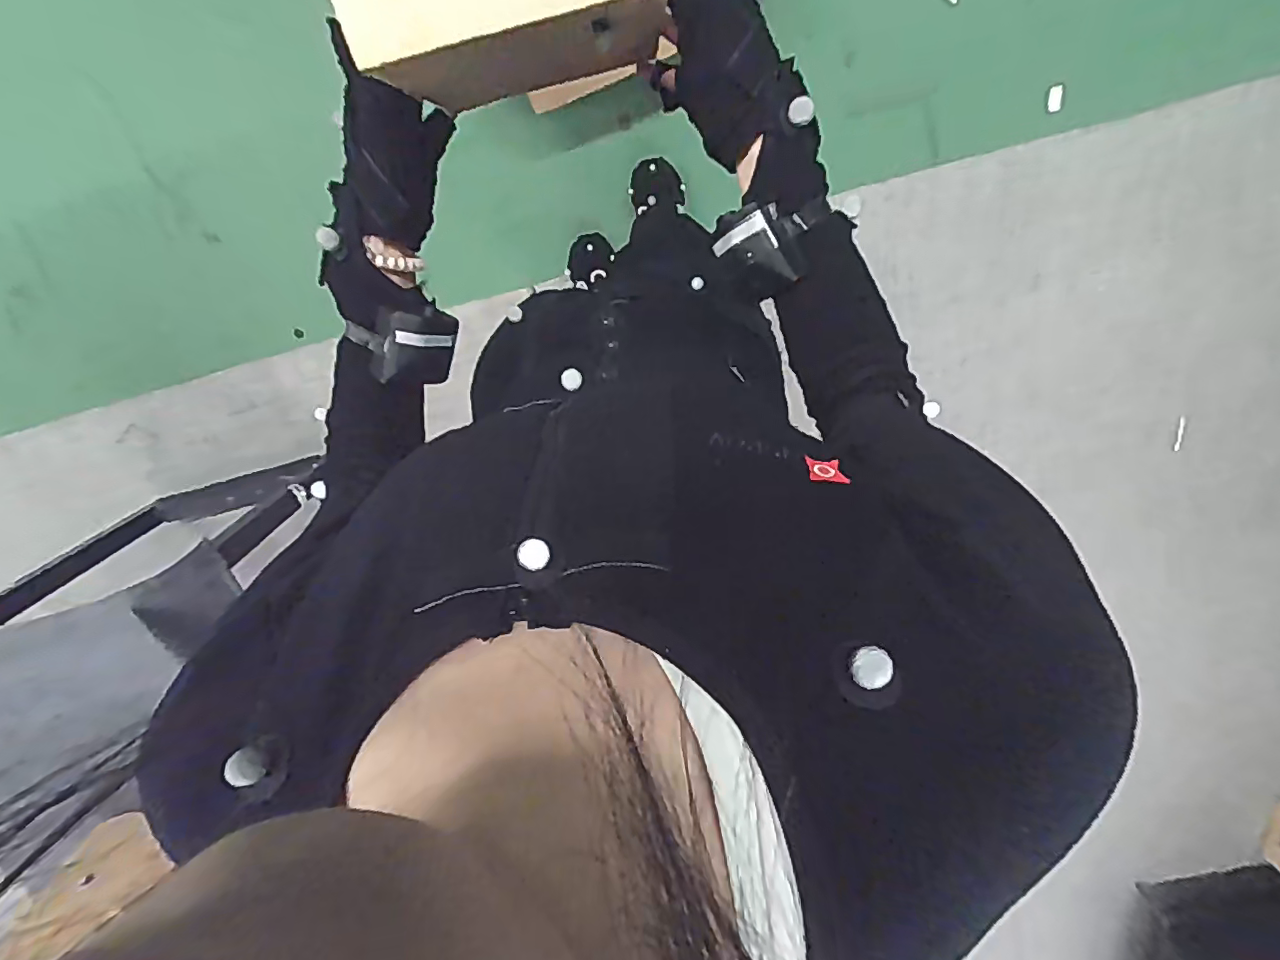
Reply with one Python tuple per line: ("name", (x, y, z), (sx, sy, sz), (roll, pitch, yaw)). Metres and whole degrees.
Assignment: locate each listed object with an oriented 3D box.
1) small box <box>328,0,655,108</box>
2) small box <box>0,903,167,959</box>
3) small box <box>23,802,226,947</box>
("small box", (-0.089, -0.345, 0.319), (0.179, 0.176, 0.168), (-13, 117, 5))
("small box", (-0.907, 0.800, 0.833), (0.179, 0.176, 0.168), (-17, 115, 5))
("small box", (-0.902, 0.716, 0.975), (0.179, 0.176, 0.168), (-15, 114, 6))
